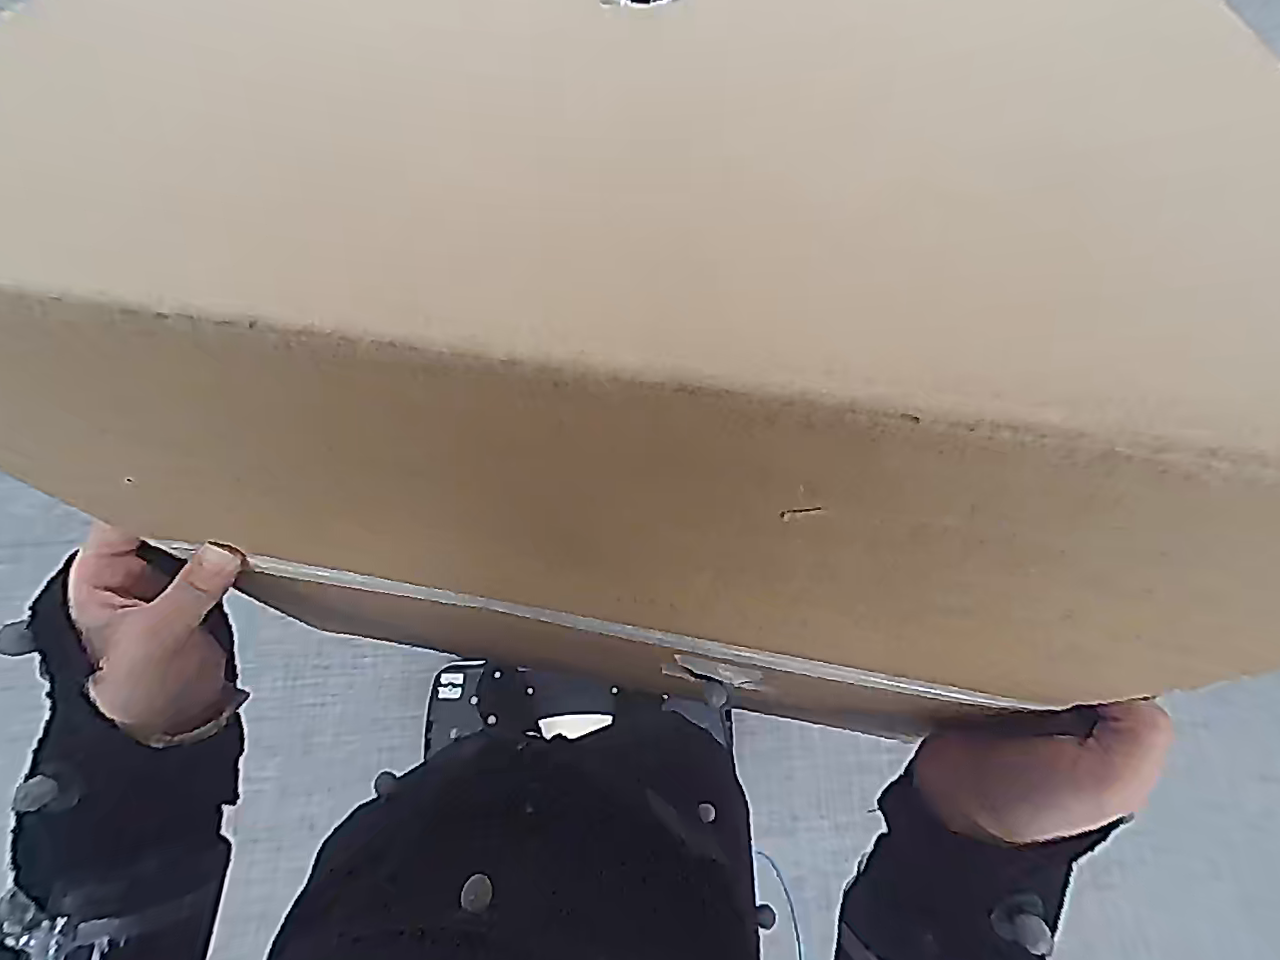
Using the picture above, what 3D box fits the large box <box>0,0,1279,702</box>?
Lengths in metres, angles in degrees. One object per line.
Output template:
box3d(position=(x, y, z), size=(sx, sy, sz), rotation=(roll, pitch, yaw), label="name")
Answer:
box3d(position=(0.015, -0.096, 0.298), size=(0.408, 0.320, 0.320), rotation=(8, 60, 5), label="large box")

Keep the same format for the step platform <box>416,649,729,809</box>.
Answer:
box3d(position=(-0.142, 0.557, 1.236), size=(0.684, 0.204, 0.286), rotation=(4, 74, 0), label="step platform")
